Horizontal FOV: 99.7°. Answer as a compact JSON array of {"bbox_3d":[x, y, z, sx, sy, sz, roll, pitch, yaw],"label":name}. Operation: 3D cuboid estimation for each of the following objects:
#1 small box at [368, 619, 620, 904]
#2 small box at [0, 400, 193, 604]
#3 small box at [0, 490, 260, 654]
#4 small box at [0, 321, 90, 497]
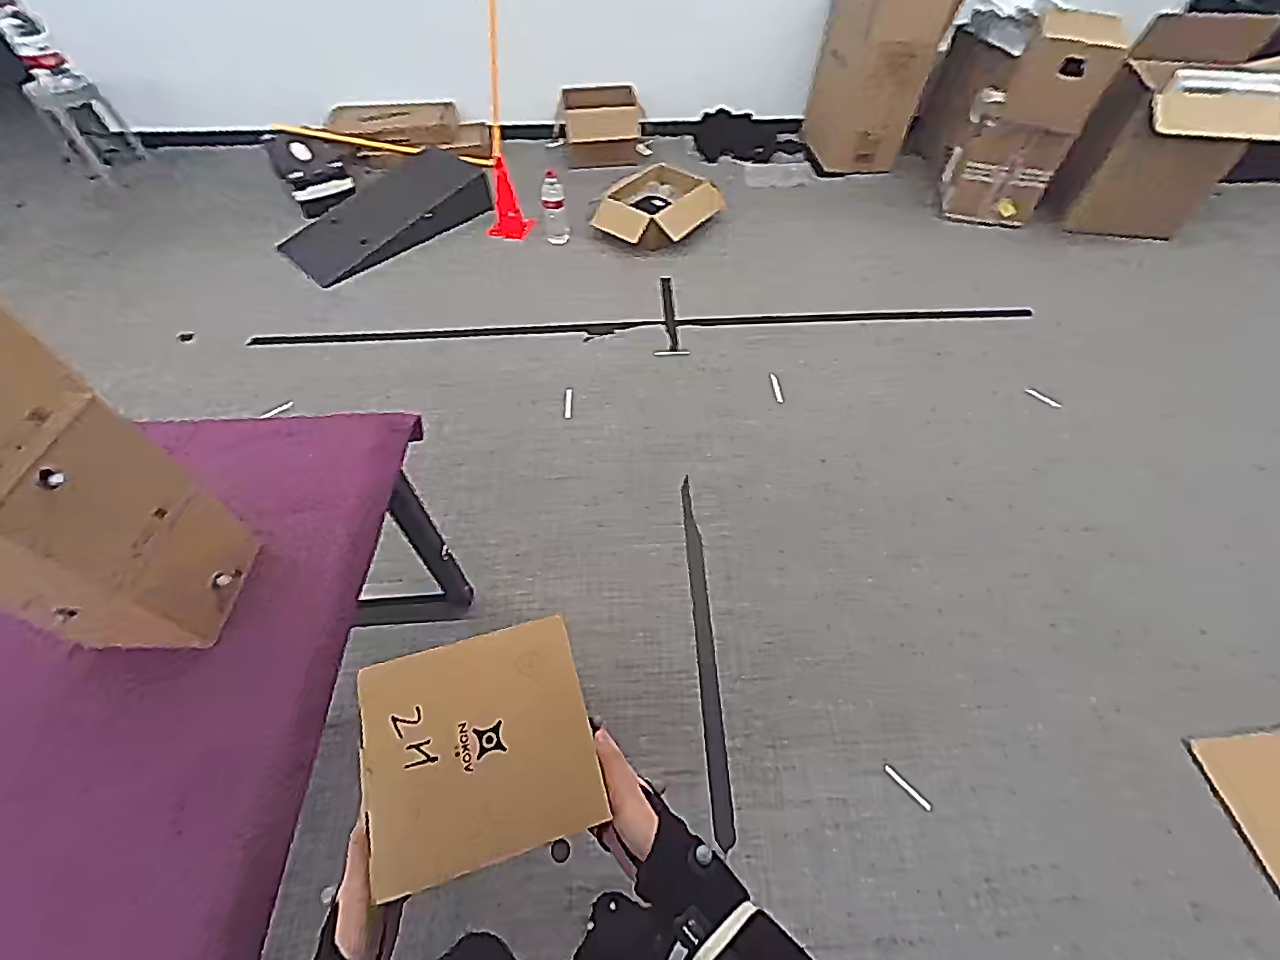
[{"bbox_3d":[-0.126,0.246,0.495,0.179,0.176,0.168,-12,63,-12],"label":"small box"},{"bbox_3d":[-0.666,0.028,0.595,0.179,0.176,0.168,1,54,2],"label":"small box"},{"bbox_3d":[-0.670,0.127,0.725,0.179,0.176,0.168,0,53,0],"label":"small box"},{"bbox_3d":[-0.660,-0.071,0.465,0.179,0.176,0.168,1,54,1],"label":"small box"}]
